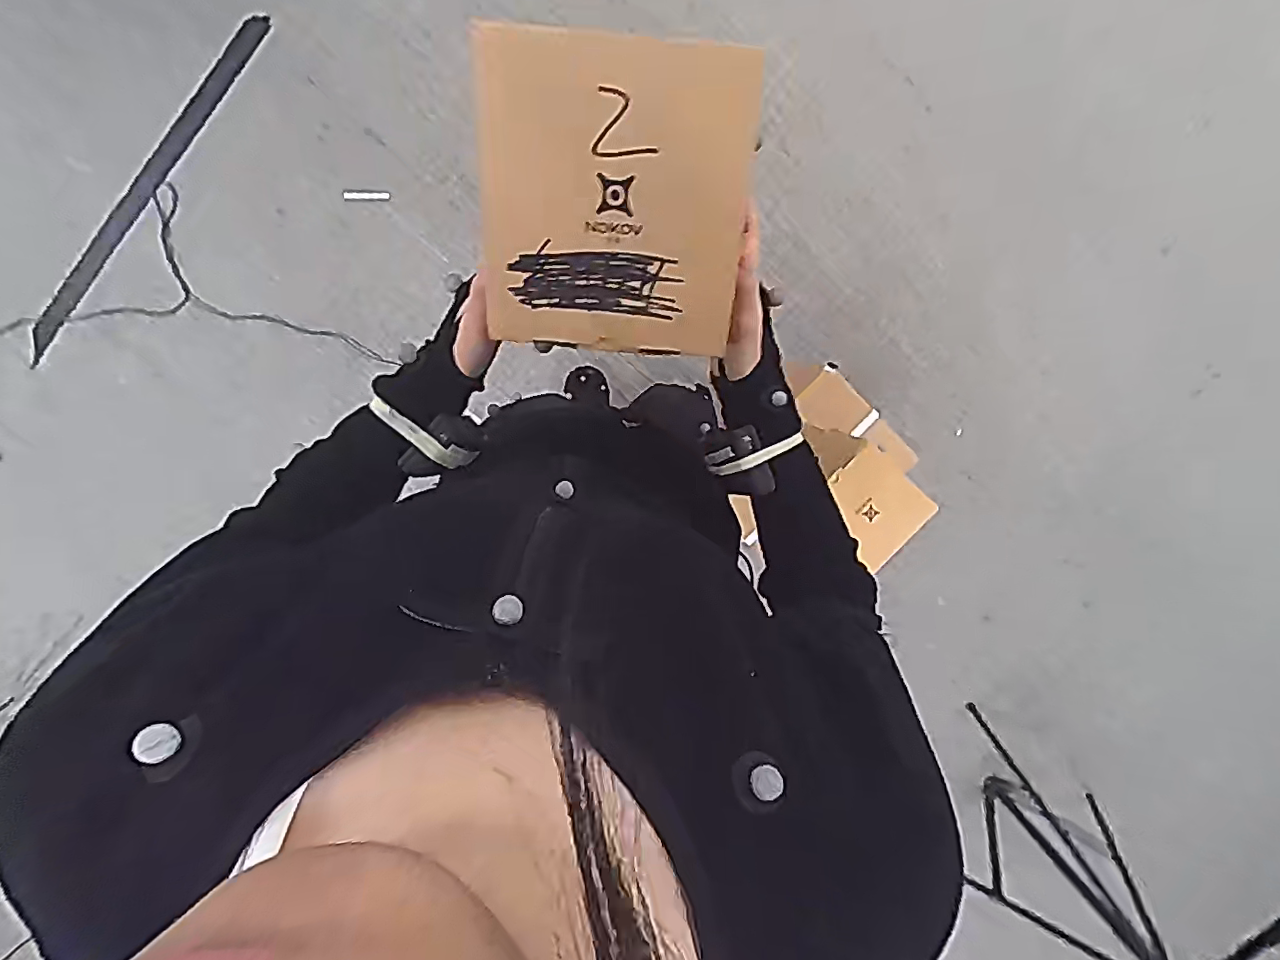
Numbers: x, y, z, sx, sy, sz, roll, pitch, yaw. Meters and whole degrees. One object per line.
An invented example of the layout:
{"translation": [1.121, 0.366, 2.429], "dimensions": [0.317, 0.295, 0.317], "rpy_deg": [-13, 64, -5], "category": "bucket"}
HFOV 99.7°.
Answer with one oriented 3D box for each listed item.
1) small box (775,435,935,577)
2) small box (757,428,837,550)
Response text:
{"translation": [0.374, 0.036, 0.972], "dimensions": [0.179, 0.176, 0.168], "rpy_deg": [41, 98, -9], "category": "small box"}
{"translation": [0.371, 0.009, 1.132], "dimensions": [0.168, 0.176, 0.179], "rpy_deg": [40, 99, -9], "category": "small box"}
